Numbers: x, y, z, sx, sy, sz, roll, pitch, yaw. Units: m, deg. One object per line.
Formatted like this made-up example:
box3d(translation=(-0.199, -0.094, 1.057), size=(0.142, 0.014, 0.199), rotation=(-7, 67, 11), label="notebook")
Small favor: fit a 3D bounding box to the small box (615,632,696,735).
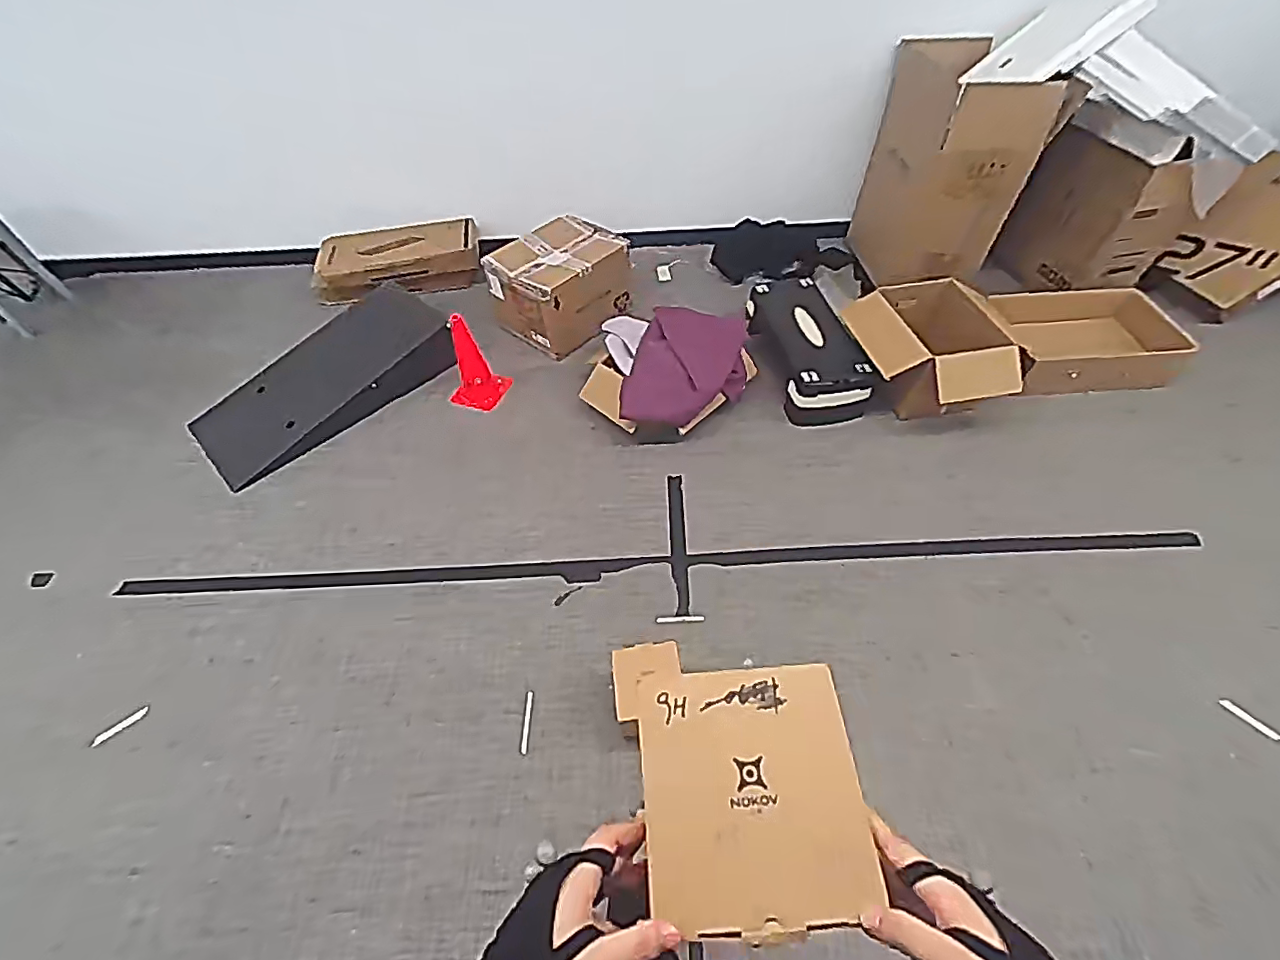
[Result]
box3d(translation=(0.033, 0.485, 1.282), size=(0.168, 0.176, 0.179), rotation=(-8, 53, -3), label="small box")
